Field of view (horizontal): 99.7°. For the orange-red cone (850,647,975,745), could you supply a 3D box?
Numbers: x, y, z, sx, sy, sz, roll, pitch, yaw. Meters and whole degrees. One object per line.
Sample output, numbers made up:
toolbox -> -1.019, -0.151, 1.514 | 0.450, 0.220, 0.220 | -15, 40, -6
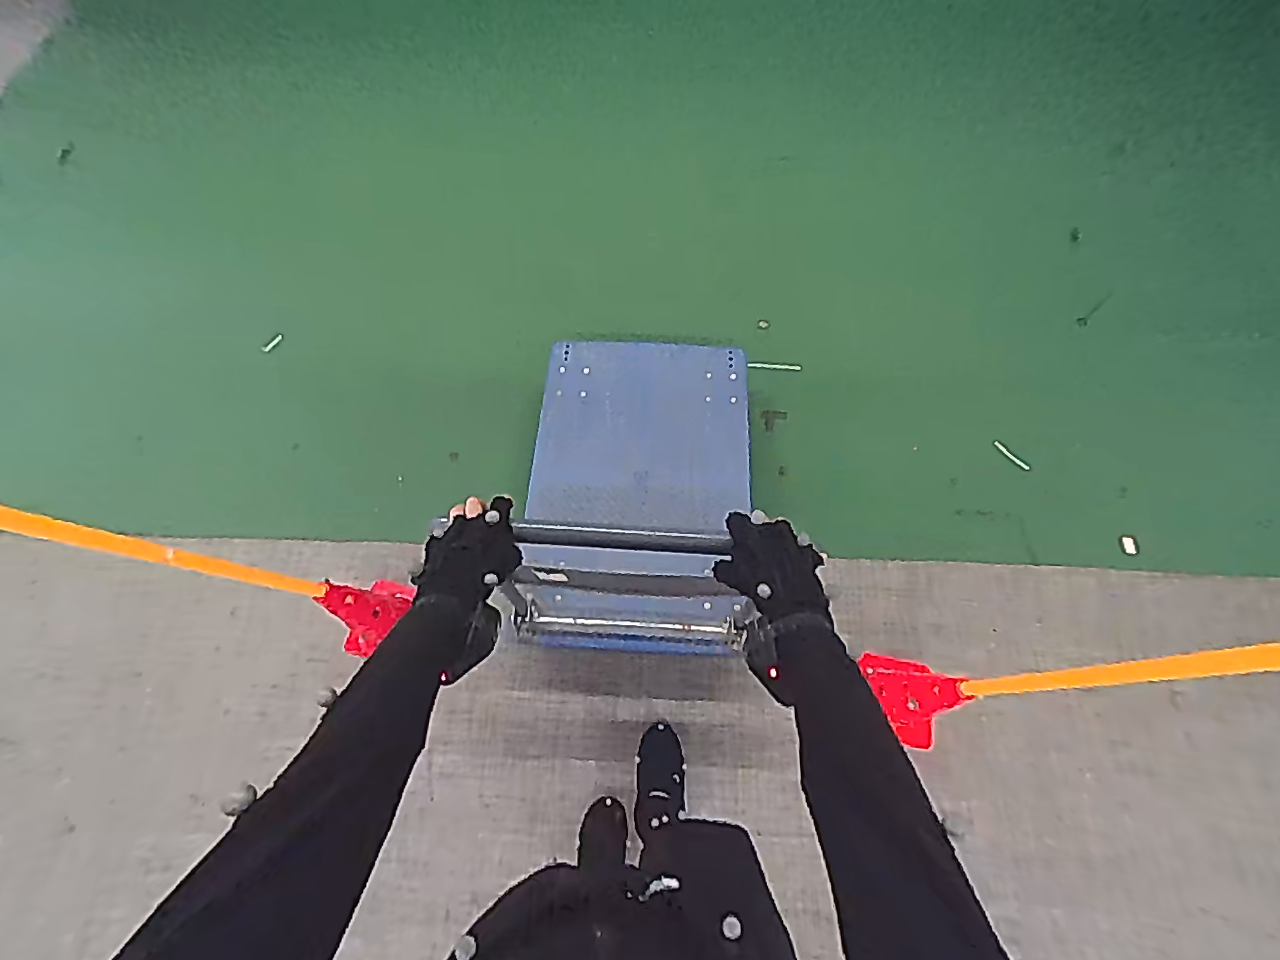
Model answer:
orange-red cone -> 0.624, 0.460, 1.185 | 0.198, 0.360, 0.199 | 12, 66, 7
